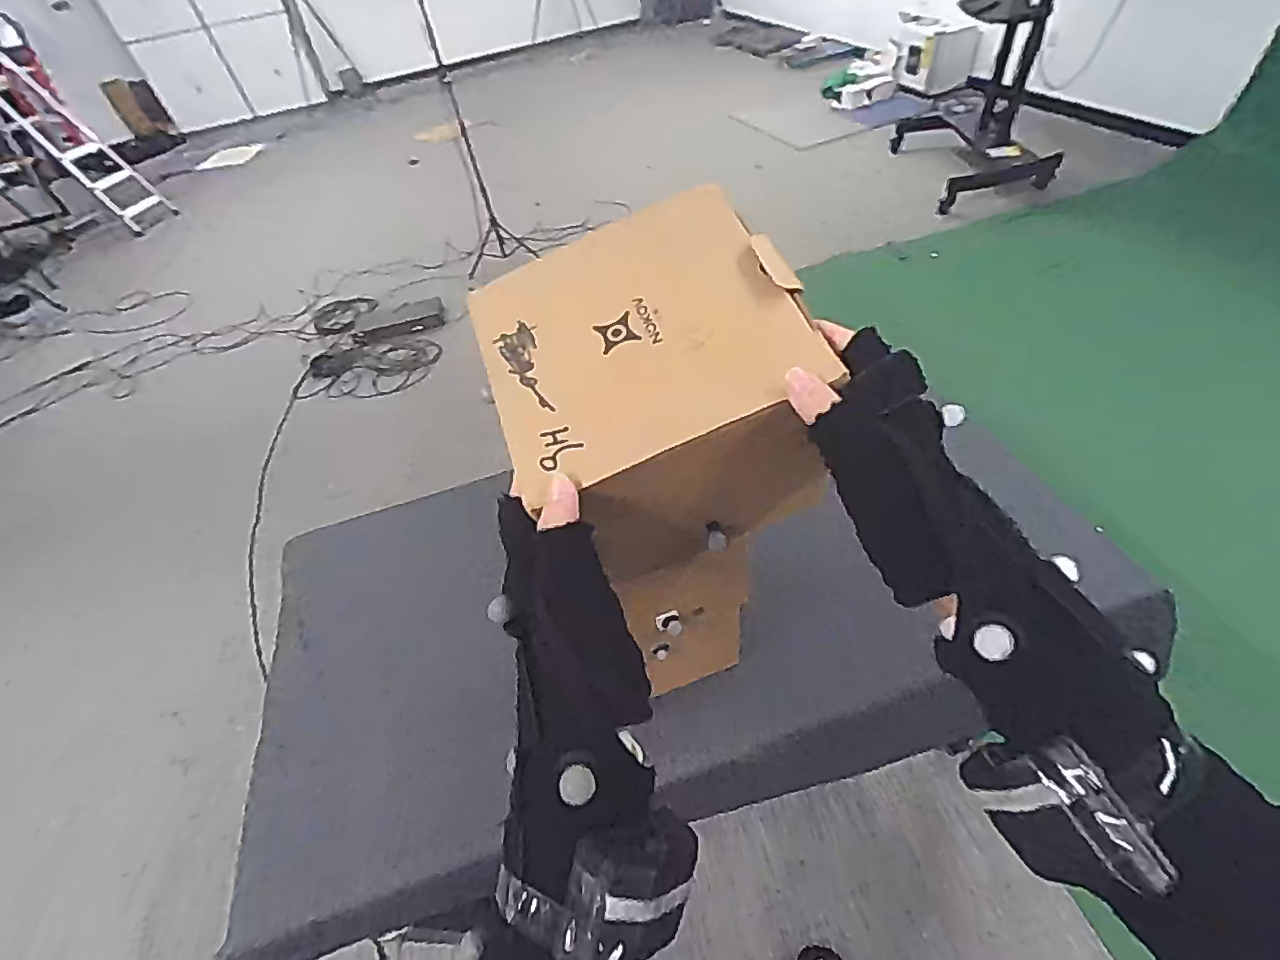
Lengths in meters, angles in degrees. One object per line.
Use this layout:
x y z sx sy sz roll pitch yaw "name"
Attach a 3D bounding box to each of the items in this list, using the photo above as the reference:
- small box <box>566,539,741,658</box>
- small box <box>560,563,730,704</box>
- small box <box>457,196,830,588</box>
-0.003 0.059 0.590 0.168 0.176 0.179 -23 49 -8 "small box"
0.009 0.166 0.711 0.179 0.176 0.168 -18 47 -7 "small box"
0.005 -0.045 0.372 0.179 0.176 0.168 -22 62 3 "small box"
